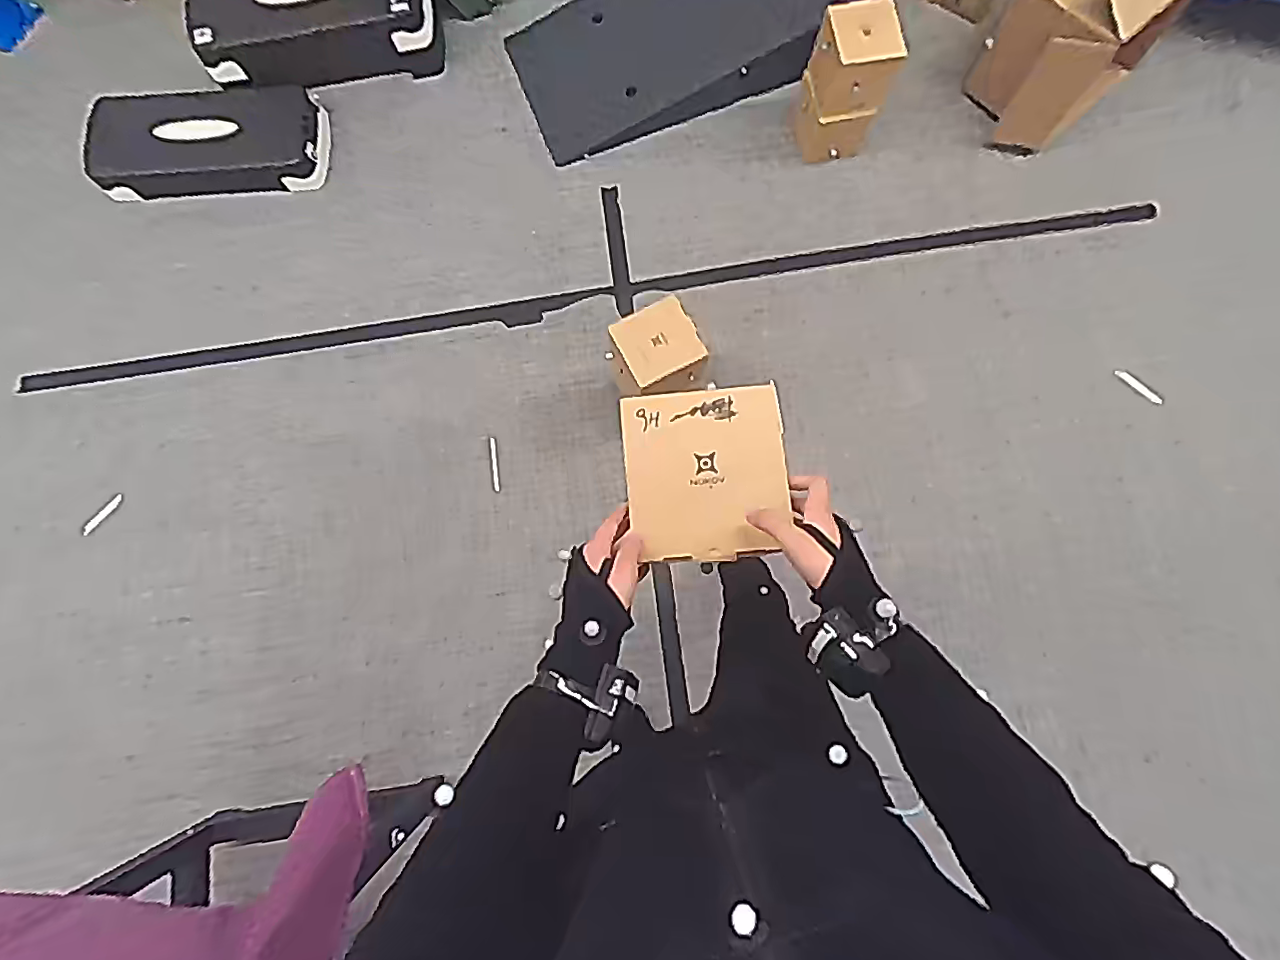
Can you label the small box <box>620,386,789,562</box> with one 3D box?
[{"bbox_3d":[0.069,0.002,0.642,0.168,0.176,0.179,-5,81,1],"label":"small box"}]
